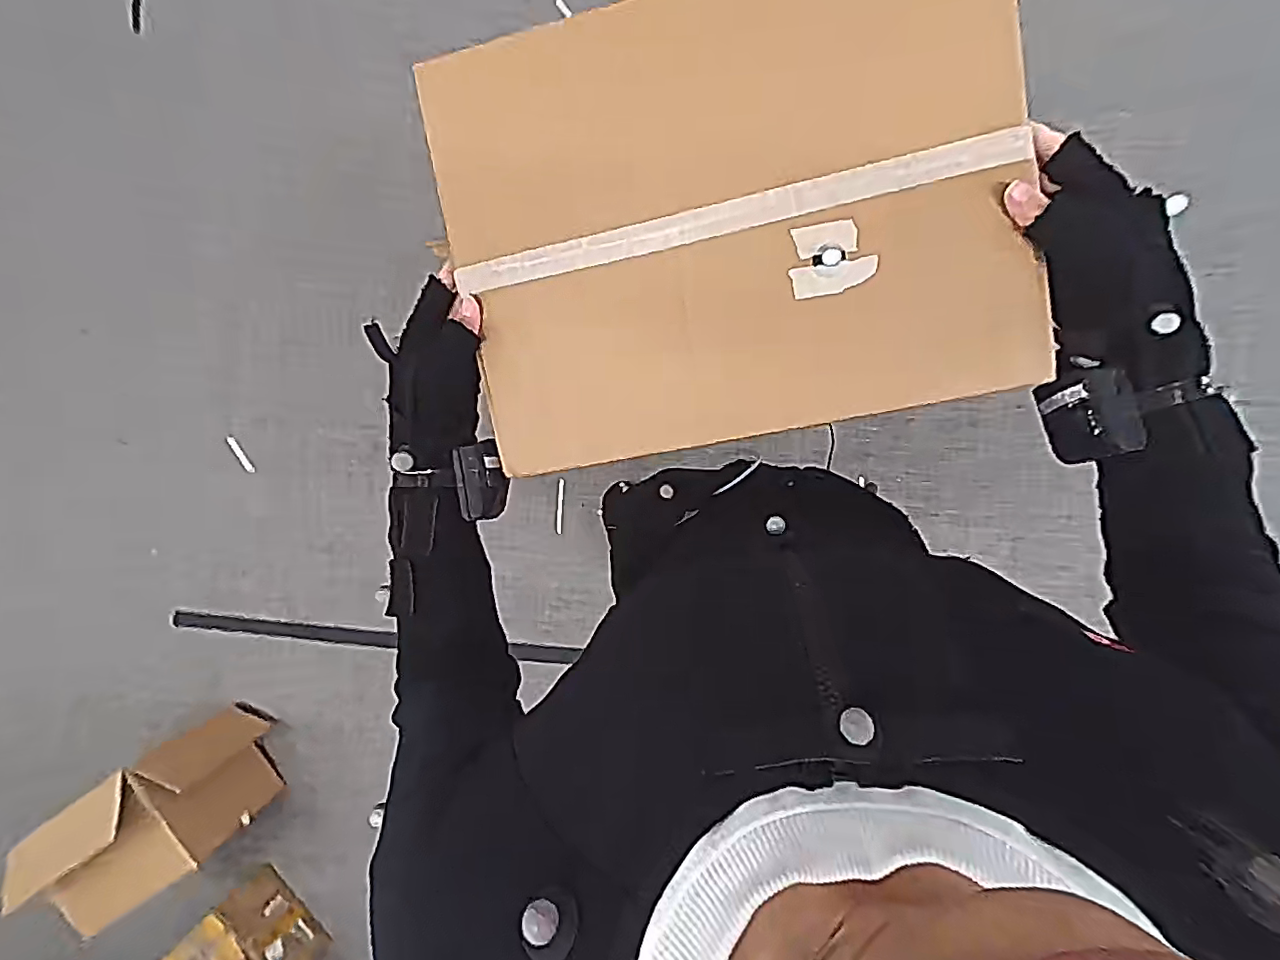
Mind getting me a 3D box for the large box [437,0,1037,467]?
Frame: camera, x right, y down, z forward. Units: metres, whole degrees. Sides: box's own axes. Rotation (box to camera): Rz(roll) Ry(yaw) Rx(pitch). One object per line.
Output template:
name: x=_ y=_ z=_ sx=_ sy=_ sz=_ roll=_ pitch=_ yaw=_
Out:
large box: x=0.081 y=-0.212 z=0.546 sx=0.408 sy=0.320 sz=0.320 roll=-10 pitch=97 yaw=8
